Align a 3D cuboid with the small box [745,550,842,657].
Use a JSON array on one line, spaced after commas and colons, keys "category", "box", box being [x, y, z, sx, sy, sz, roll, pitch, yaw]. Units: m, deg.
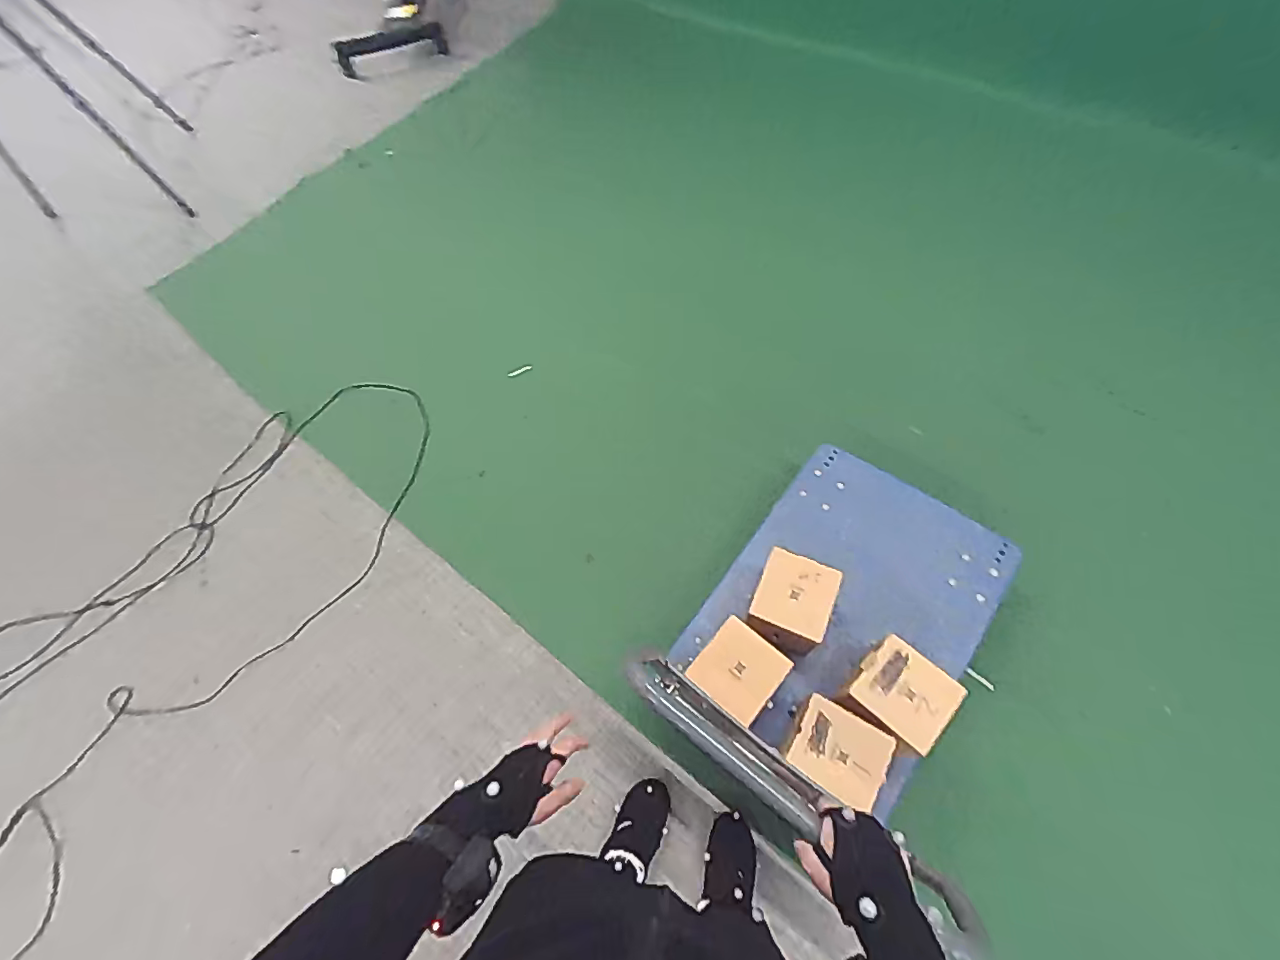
[{"category": "small box", "box": [0.354, 0.297, 1.276, 0.168, 0.176, 0.179, 22, 67, 15]}]
